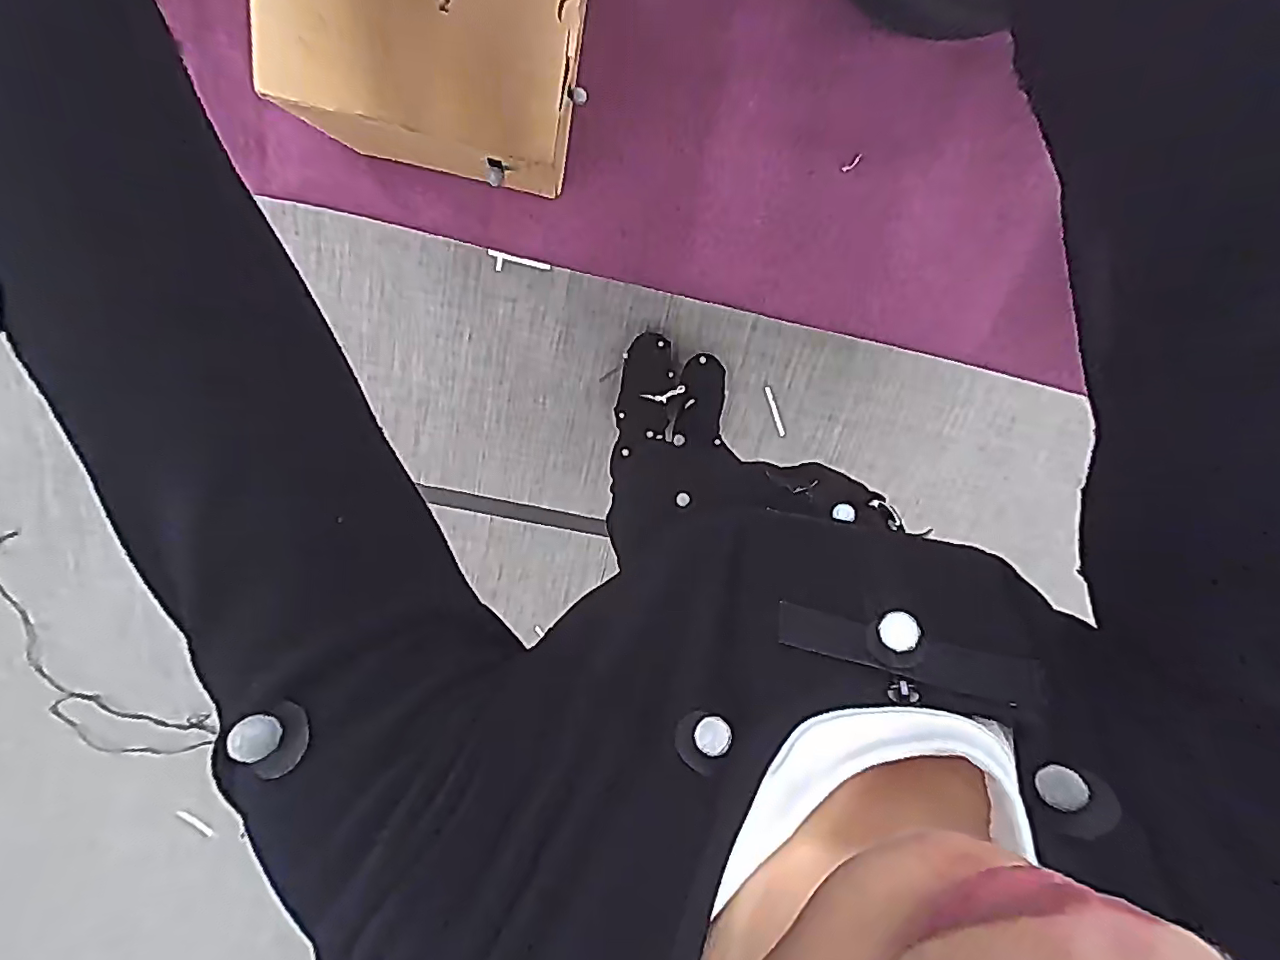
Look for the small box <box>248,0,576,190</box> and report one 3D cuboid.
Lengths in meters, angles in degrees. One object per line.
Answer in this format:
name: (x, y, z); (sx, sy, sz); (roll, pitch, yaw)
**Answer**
small box: (-0.141, -0.319, 0.382); (0.179, 0.176, 0.168); (7, 110, -12)
